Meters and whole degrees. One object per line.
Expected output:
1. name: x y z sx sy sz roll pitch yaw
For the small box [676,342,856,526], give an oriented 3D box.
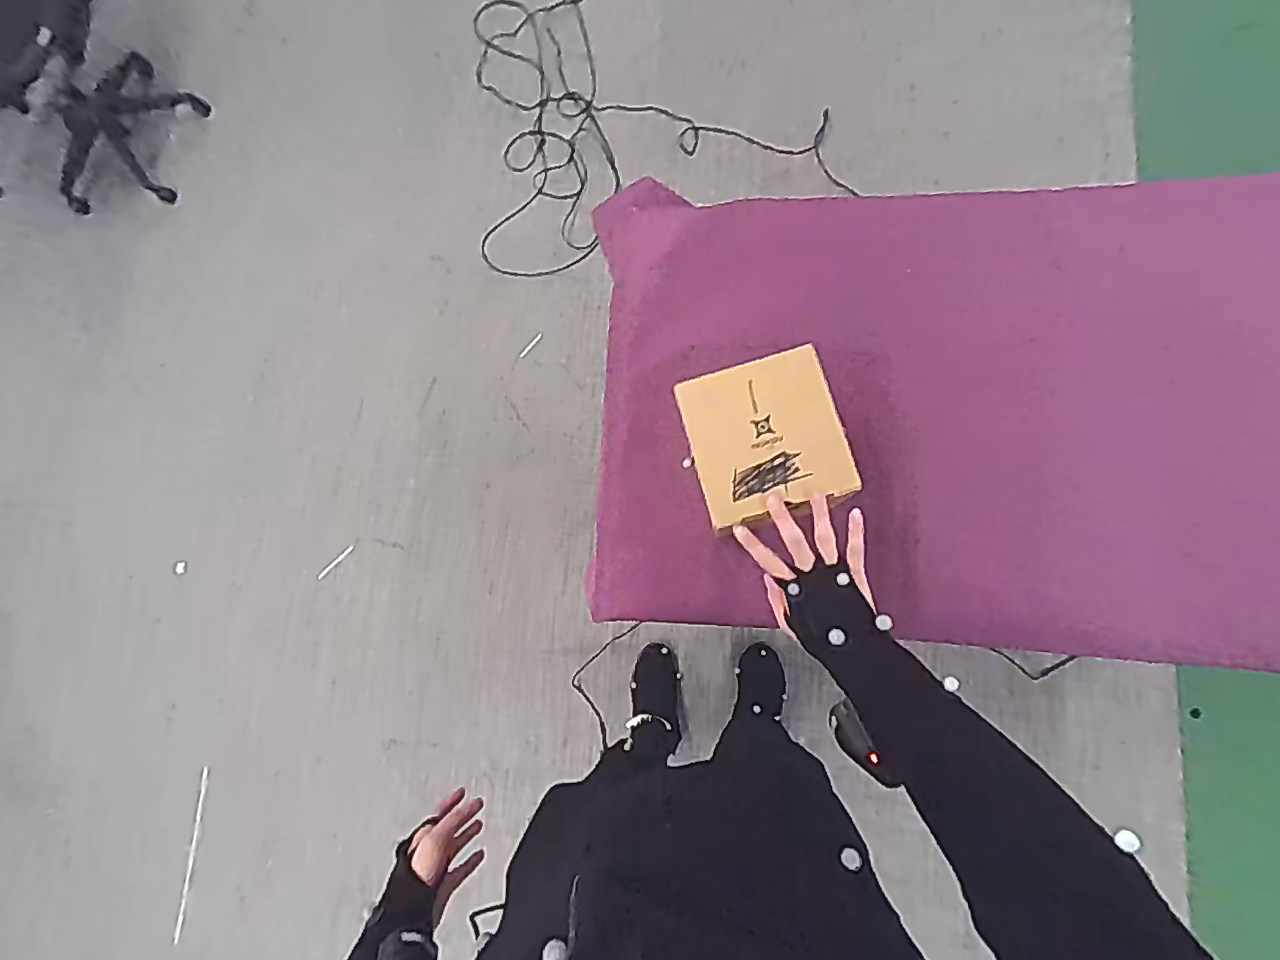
1. small box: 0.151 -0.043 0.684 0.168 0.176 0.179 -15 78 6
